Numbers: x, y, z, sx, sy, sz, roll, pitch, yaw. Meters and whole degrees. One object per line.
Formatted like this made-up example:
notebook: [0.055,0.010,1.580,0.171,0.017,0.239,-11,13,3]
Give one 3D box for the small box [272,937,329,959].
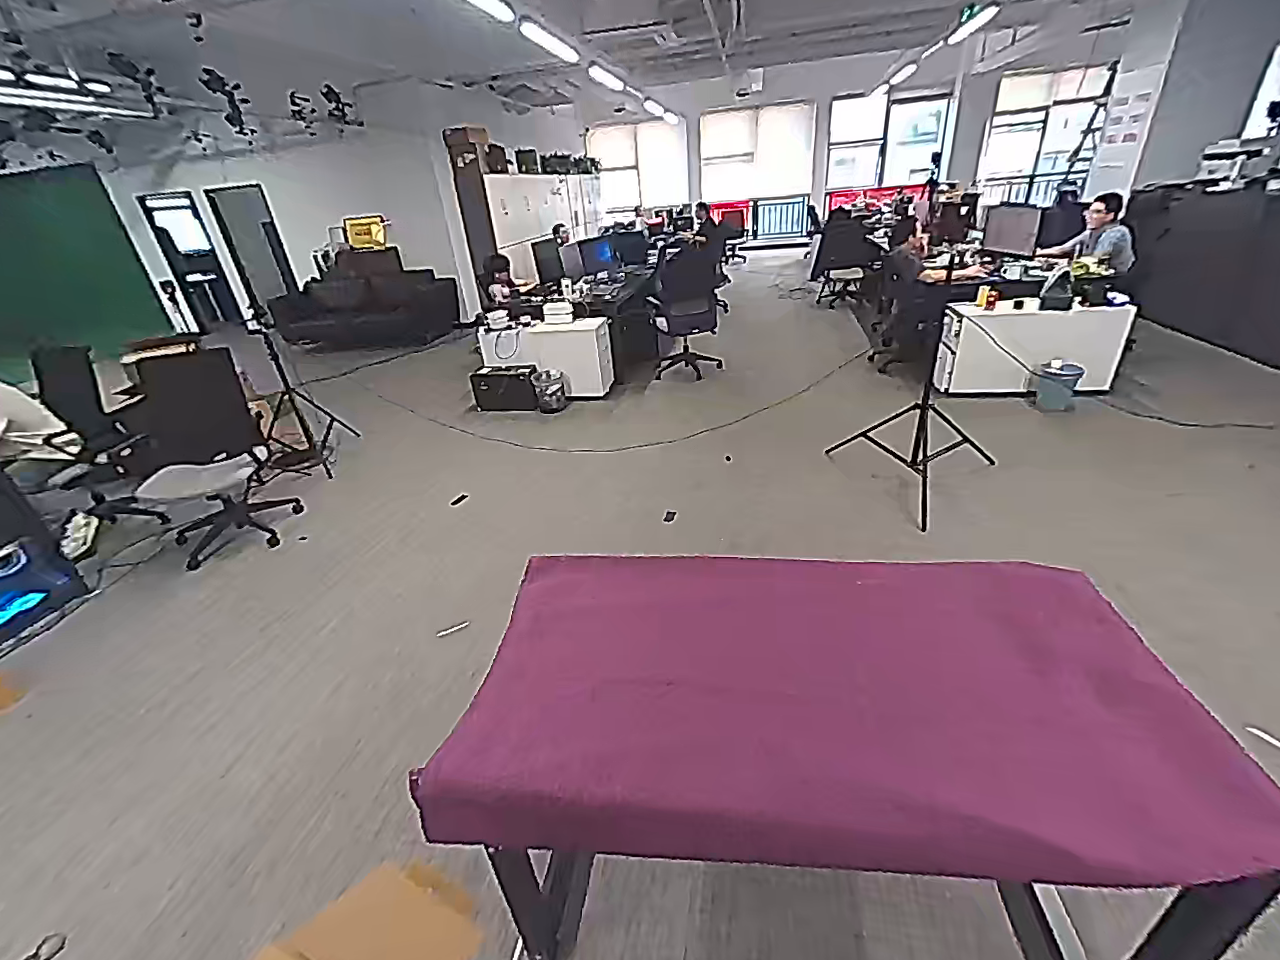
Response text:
small box: [-0.339,0.607,0.529,0.168,0.176,0.179,24,44,16]
